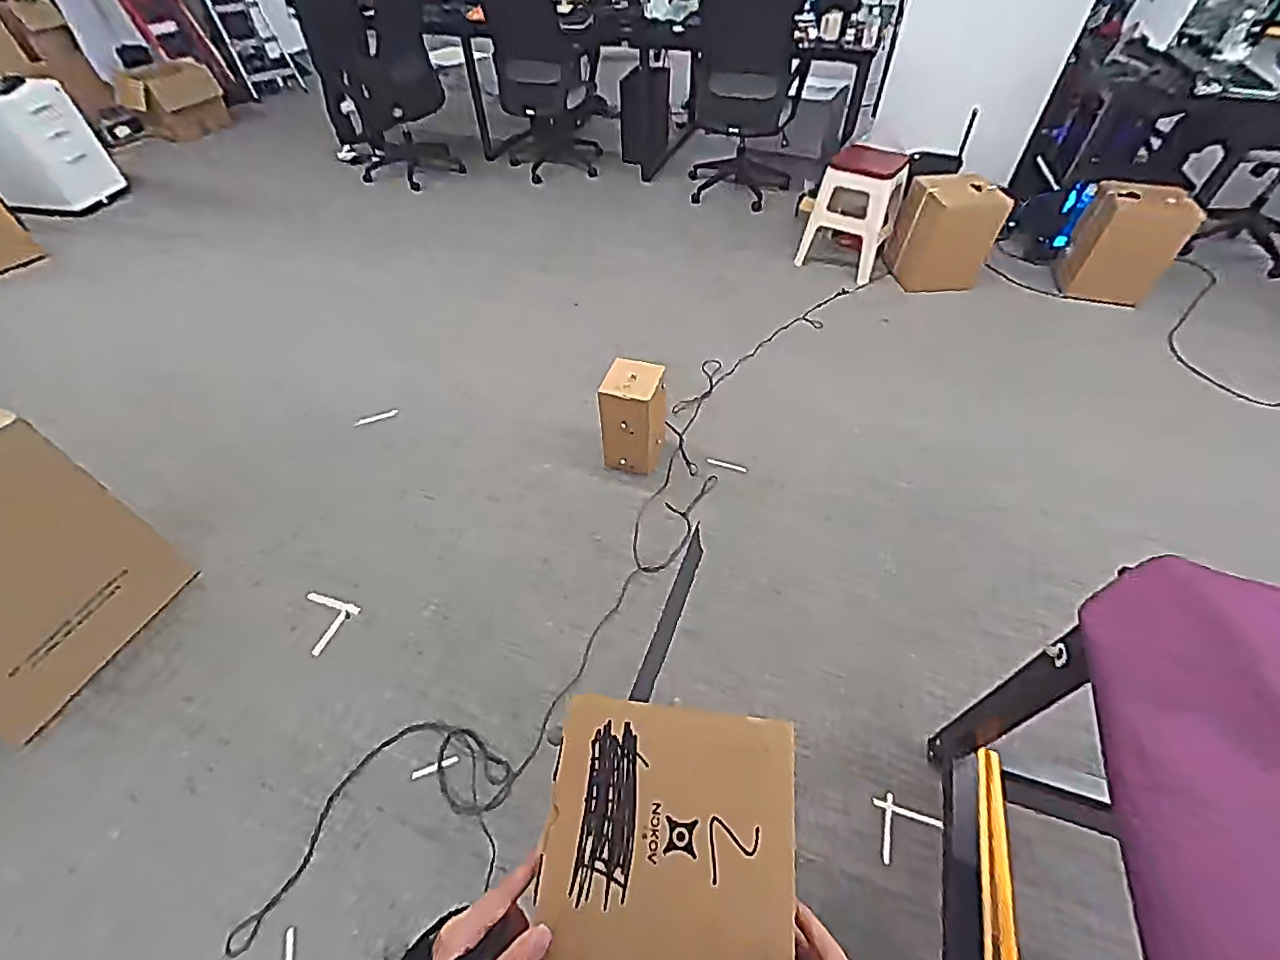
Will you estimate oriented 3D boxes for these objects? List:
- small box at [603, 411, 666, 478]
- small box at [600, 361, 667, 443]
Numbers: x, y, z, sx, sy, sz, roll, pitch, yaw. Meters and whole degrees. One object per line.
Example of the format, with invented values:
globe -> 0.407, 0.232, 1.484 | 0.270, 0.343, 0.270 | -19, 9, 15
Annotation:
small box -> -0.016, -0.139, 1.844 | 0.168, 0.176, 0.179 | 15, 51, 14
small box -> -0.018, -0.247, 1.720 | 0.168, 0.176, 0.179 | 13, 51, 13
